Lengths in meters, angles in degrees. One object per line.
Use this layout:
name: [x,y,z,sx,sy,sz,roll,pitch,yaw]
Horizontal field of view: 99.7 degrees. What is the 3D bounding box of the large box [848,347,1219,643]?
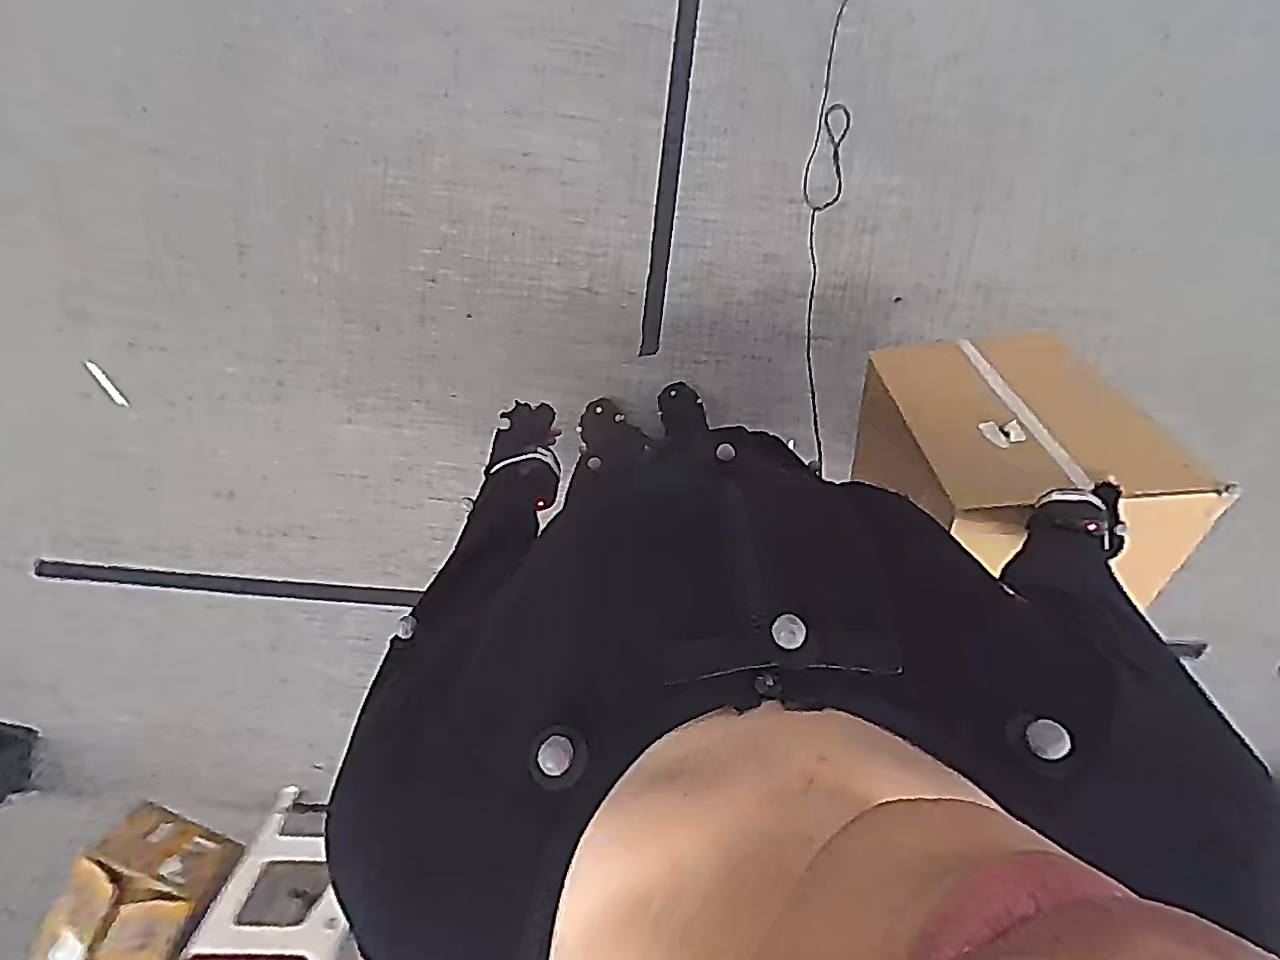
large box: [0.578,0.018,0.917,0.320,0.408,0.320,-4,132,7]
